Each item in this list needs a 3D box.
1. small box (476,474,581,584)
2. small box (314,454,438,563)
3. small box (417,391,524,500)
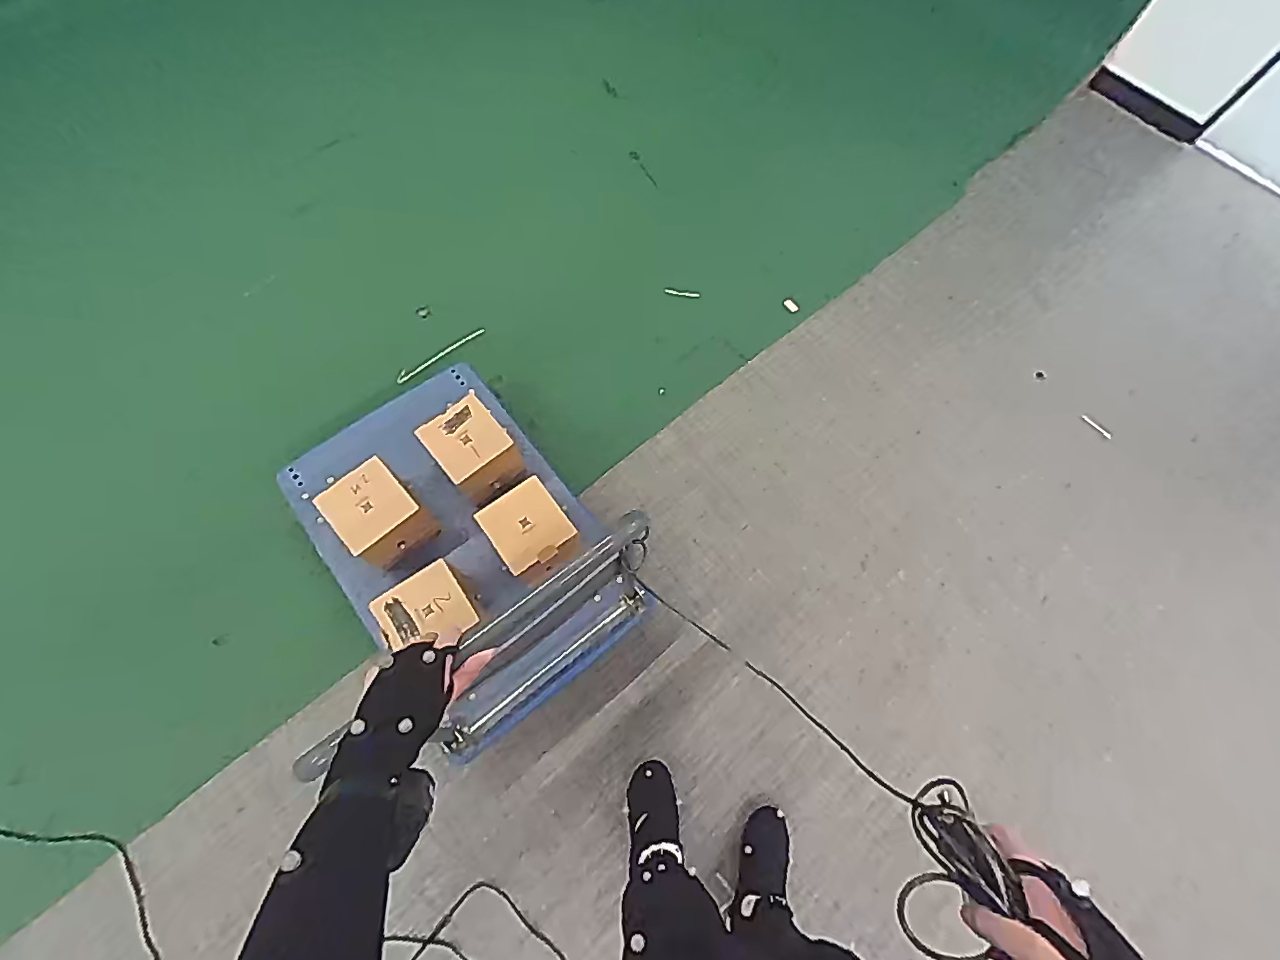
[{"bbox_3d":[-0.252,0.120,1.259,0.168,0.176,0.179,-35,76,-14],"label":"small box"},{"bbox_3d":[-0.602,0.076,1.259,0.168,0.176,0.179,-40,76,-16],"label":"small box"},{"bbox_3d":[-0.406,-0.077,1.322,0.168,0.176,0.179,-38,77,-14],"label":"small box"}]
